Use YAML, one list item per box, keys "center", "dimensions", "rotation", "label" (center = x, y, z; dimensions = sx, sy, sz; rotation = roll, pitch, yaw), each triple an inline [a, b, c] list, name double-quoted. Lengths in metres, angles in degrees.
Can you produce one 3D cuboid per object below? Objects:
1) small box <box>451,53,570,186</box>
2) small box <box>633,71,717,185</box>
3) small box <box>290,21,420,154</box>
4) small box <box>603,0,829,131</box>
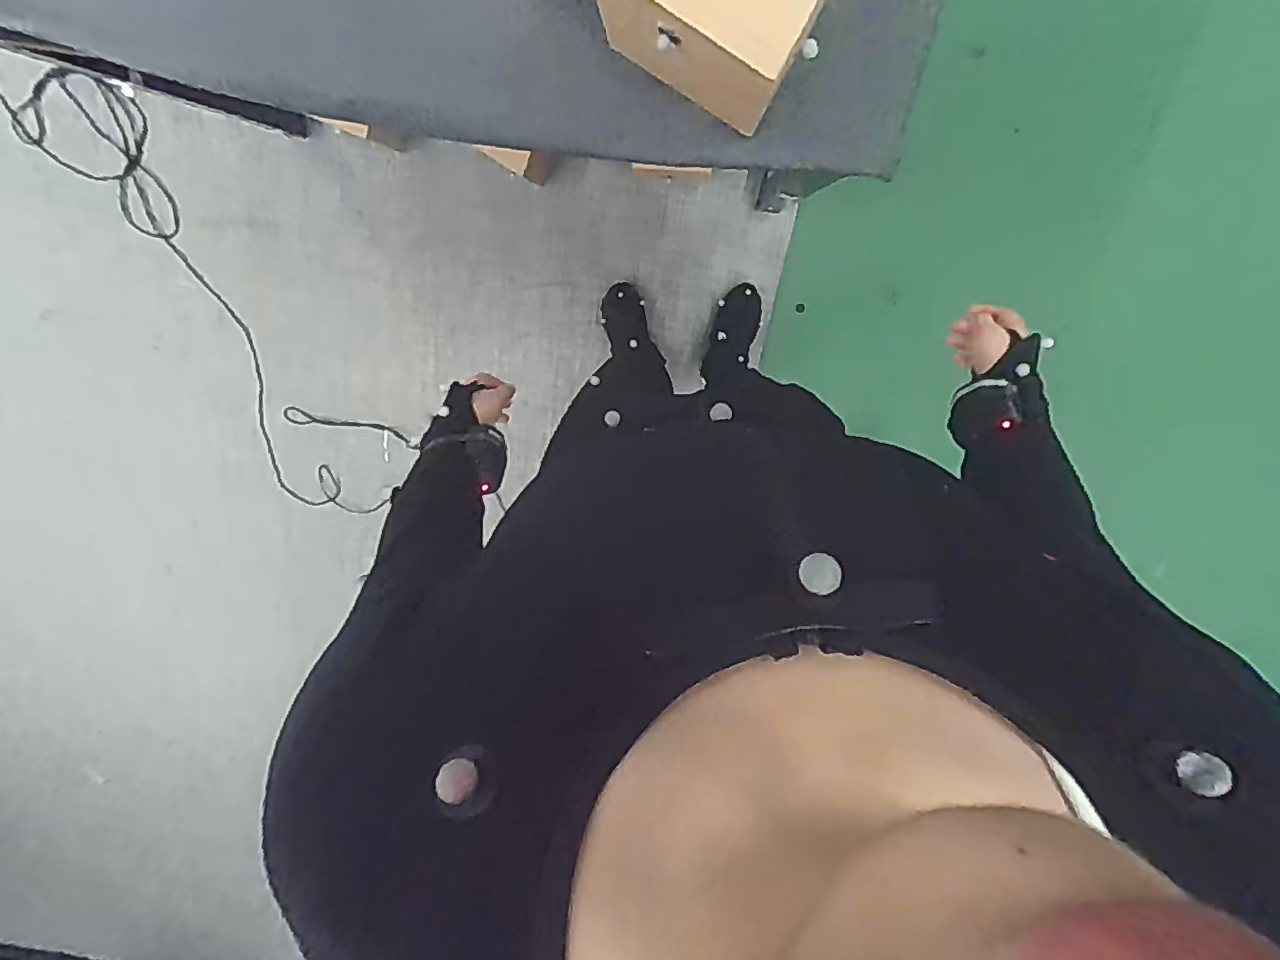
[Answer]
- center: [-0.270, -0.761, 1.166]
  dimensions: [0.179, 0.176, 0.168]
  rotation: [29, 111, -5]
  label: "small box"
- center: [0.078, -0.734, 1.144]
  dimensions: [0.168, 0.176, 0.179]
  rotation: [5, 113, 2]
  label: "small box"
- center: [-0.609, -0.832, 1.168]
  dimensions: [0.179, 0.176, 0.168]
  rotation: [21, 113, -3]
  label: "small box"
- center: [0.074, -0.444, 0.470]
  dimensions: [0.179, 0.176, 0.168]
  rotation: [29, 109, -6]
  label: "small box"
